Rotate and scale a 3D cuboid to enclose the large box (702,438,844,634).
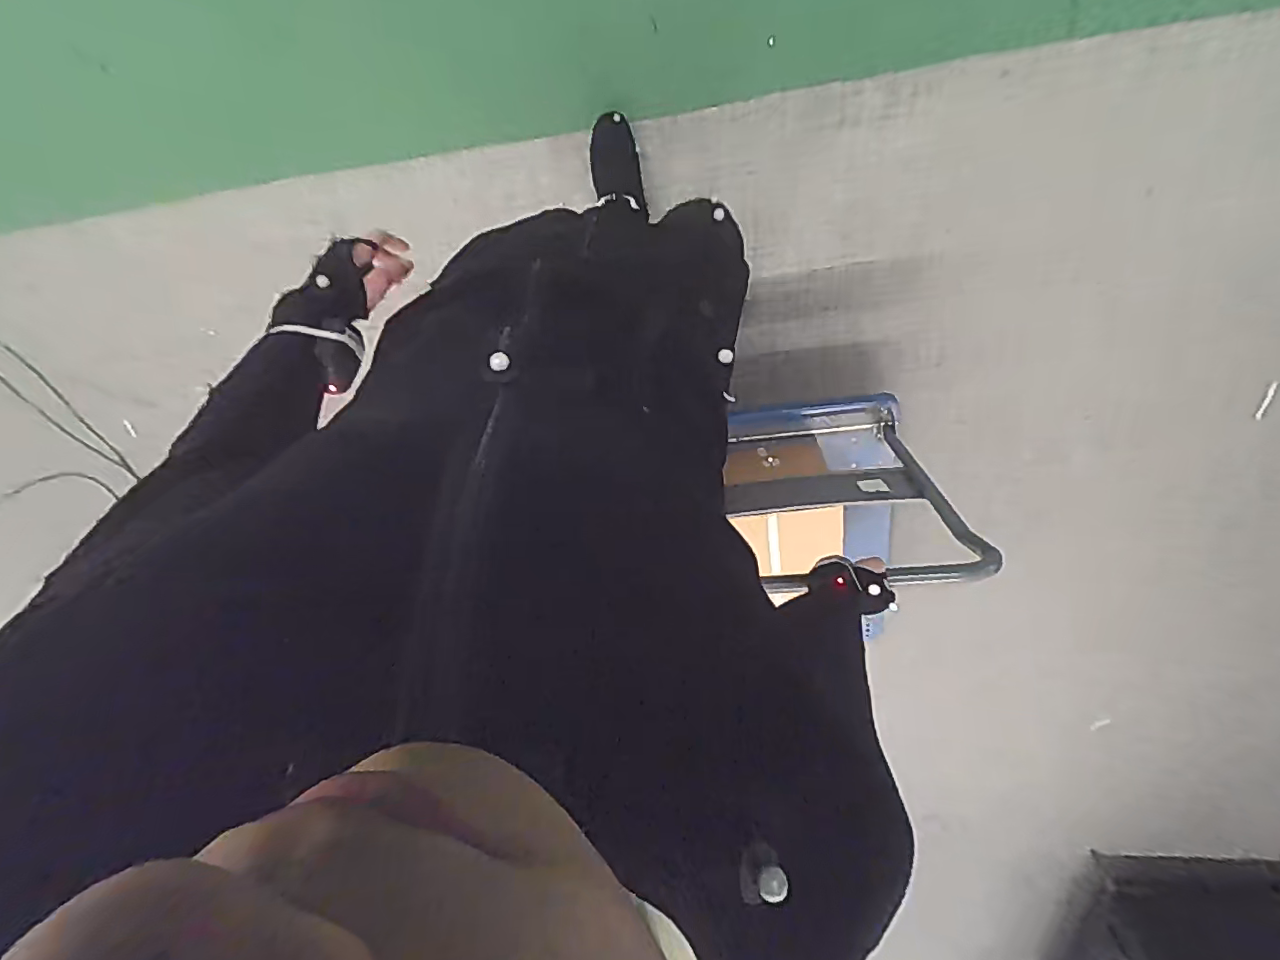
[{"bbox_3d":[0.346,0.147,1.442,0.320,0.320,0.408,-6,121,10],"label":"large box"}]
